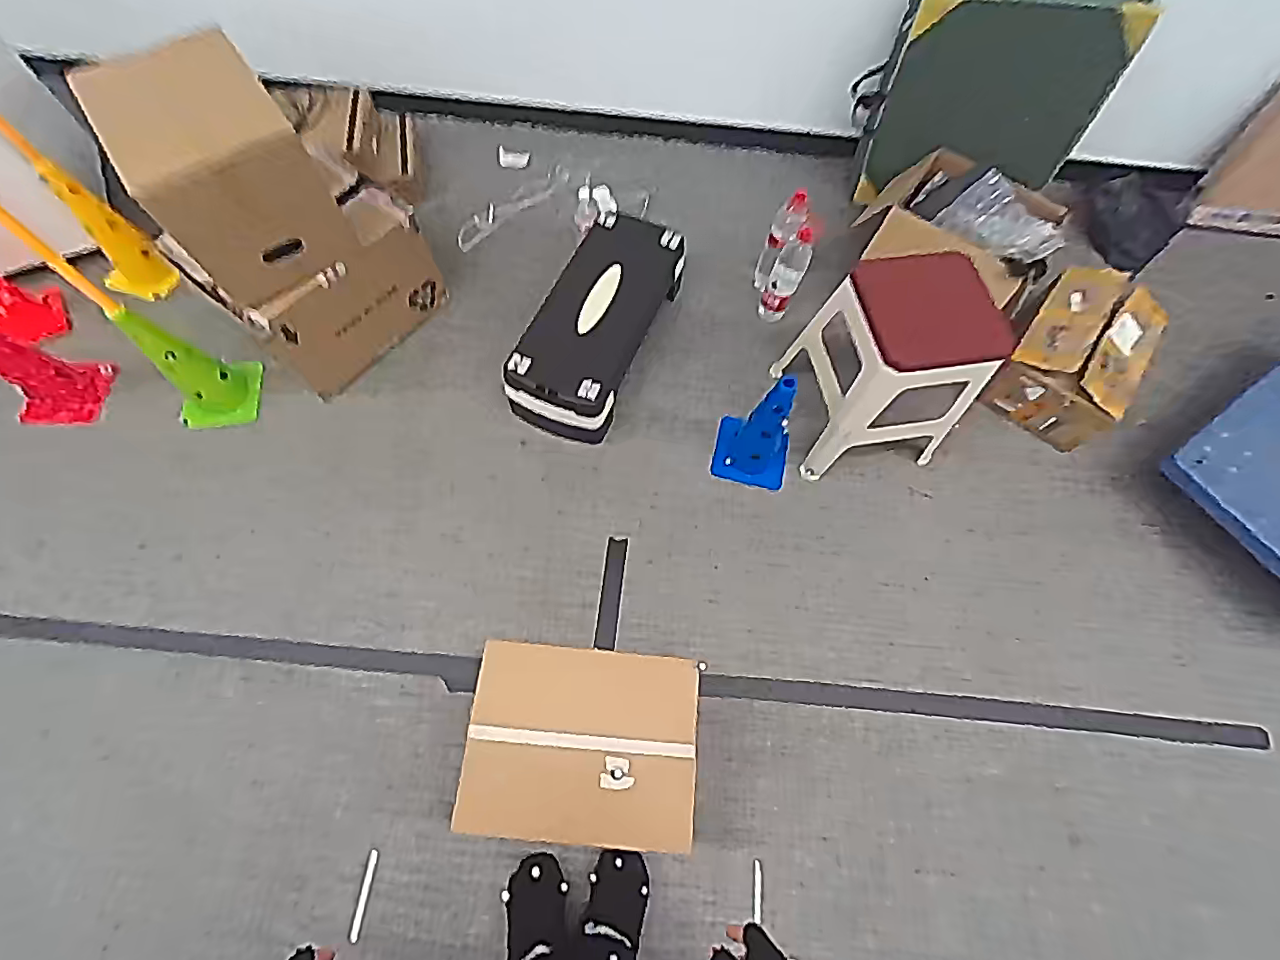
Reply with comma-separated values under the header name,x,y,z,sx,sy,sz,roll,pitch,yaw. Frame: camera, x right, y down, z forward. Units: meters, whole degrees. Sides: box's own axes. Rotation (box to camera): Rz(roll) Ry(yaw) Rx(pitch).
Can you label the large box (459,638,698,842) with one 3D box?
name,x,y,z,sx,sy,sz,roll,pitch,yaw
large box,-0.108,0.516,1.104,0.408,0.320,0.320,6,67,-2
